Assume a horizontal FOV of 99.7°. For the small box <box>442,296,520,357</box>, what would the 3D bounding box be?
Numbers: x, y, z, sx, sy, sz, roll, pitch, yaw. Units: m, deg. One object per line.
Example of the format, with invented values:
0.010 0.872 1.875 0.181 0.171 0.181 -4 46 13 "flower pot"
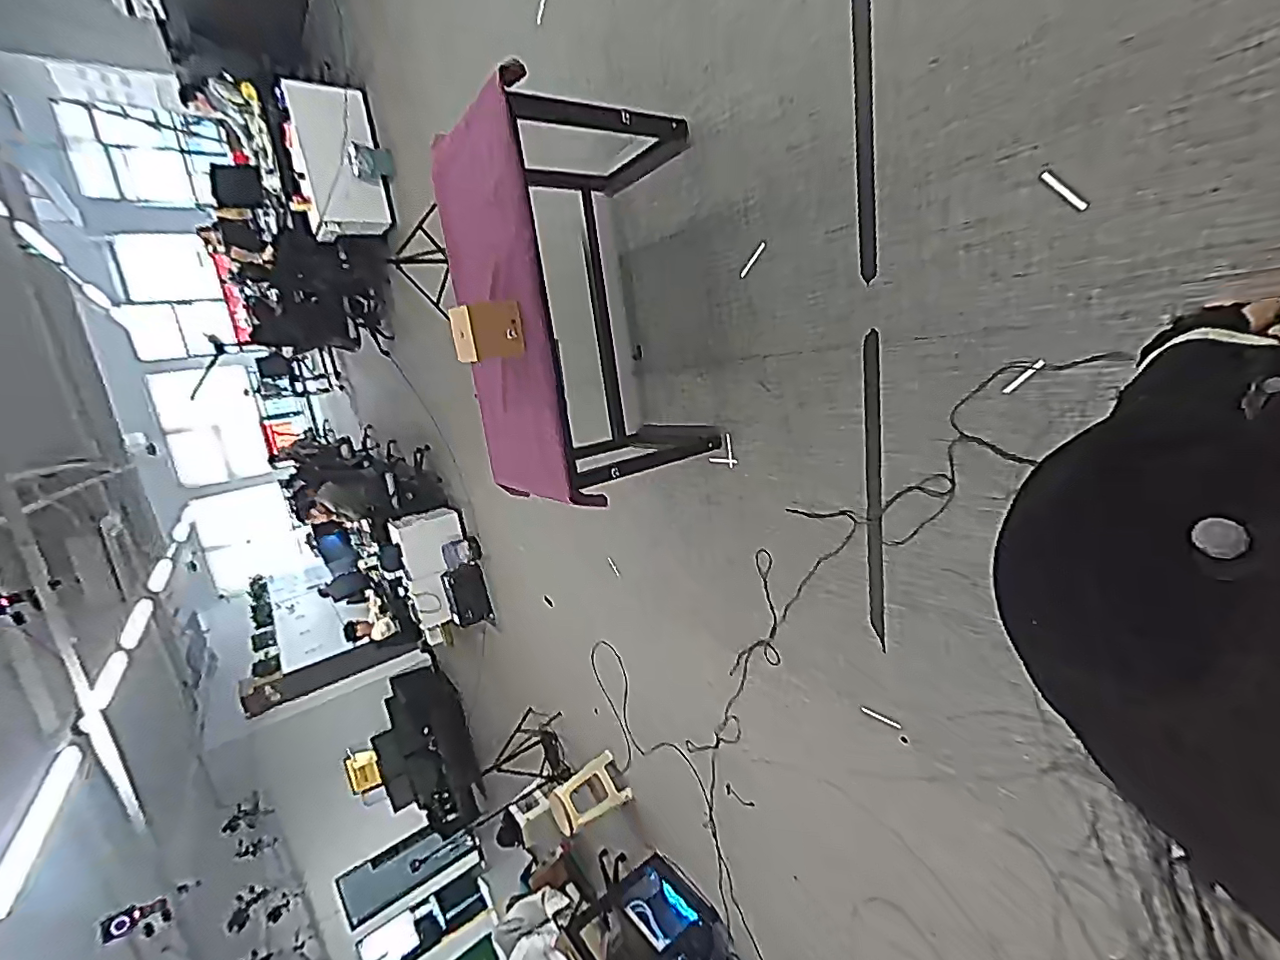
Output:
-0.498 -0.479 1.696 0.179 0.176 0.168 13 116 51 "small box"
